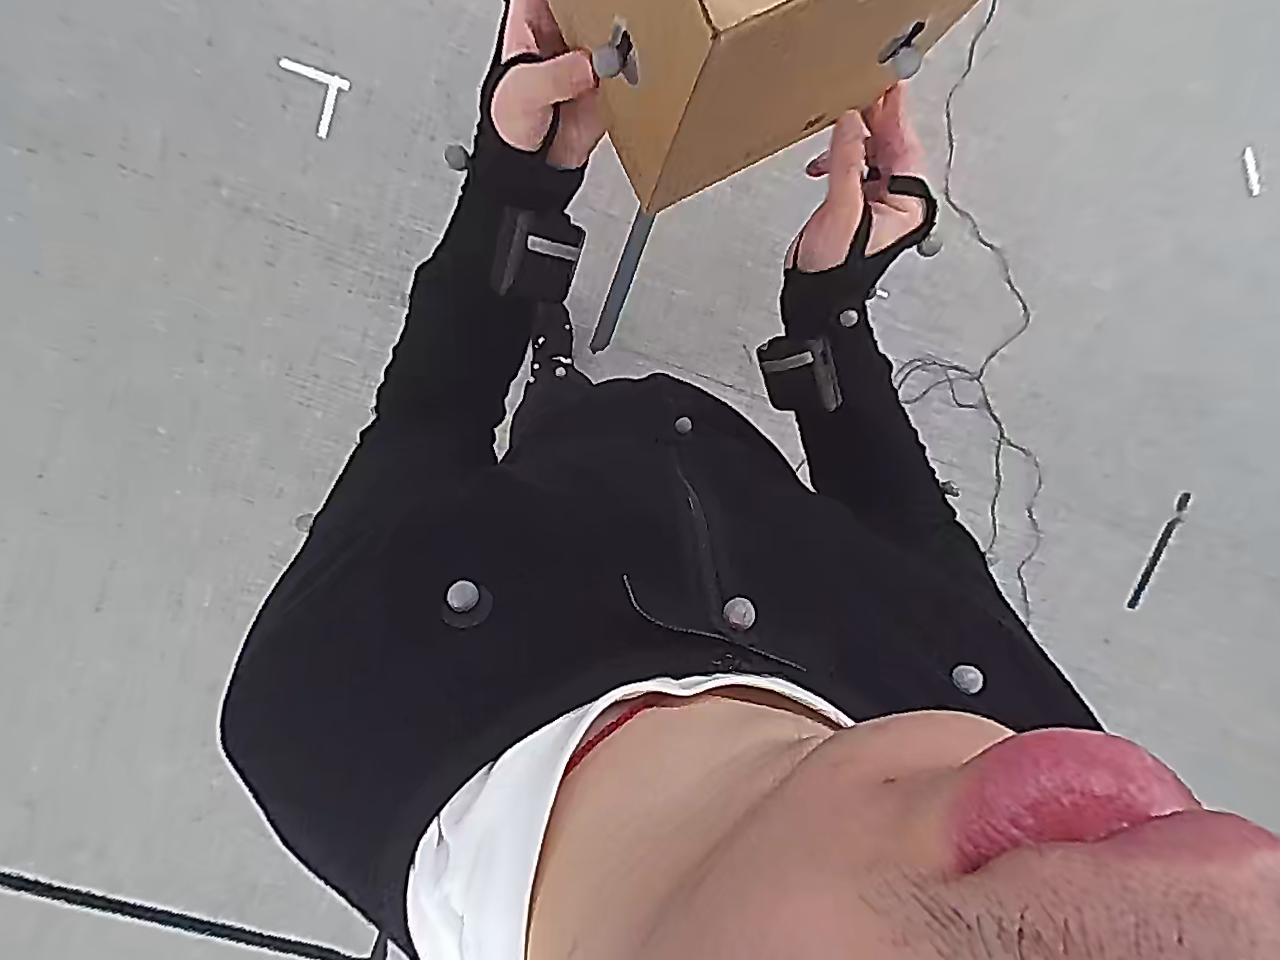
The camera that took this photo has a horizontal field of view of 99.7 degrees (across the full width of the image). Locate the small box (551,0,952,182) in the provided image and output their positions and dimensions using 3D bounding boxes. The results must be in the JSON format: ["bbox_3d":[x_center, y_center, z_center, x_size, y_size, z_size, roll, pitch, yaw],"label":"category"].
[{"bbox_3d":[0.047,-0.267,0.244,0.168,0.176,0.179,-28,100,-3],"label":"small box"}]
